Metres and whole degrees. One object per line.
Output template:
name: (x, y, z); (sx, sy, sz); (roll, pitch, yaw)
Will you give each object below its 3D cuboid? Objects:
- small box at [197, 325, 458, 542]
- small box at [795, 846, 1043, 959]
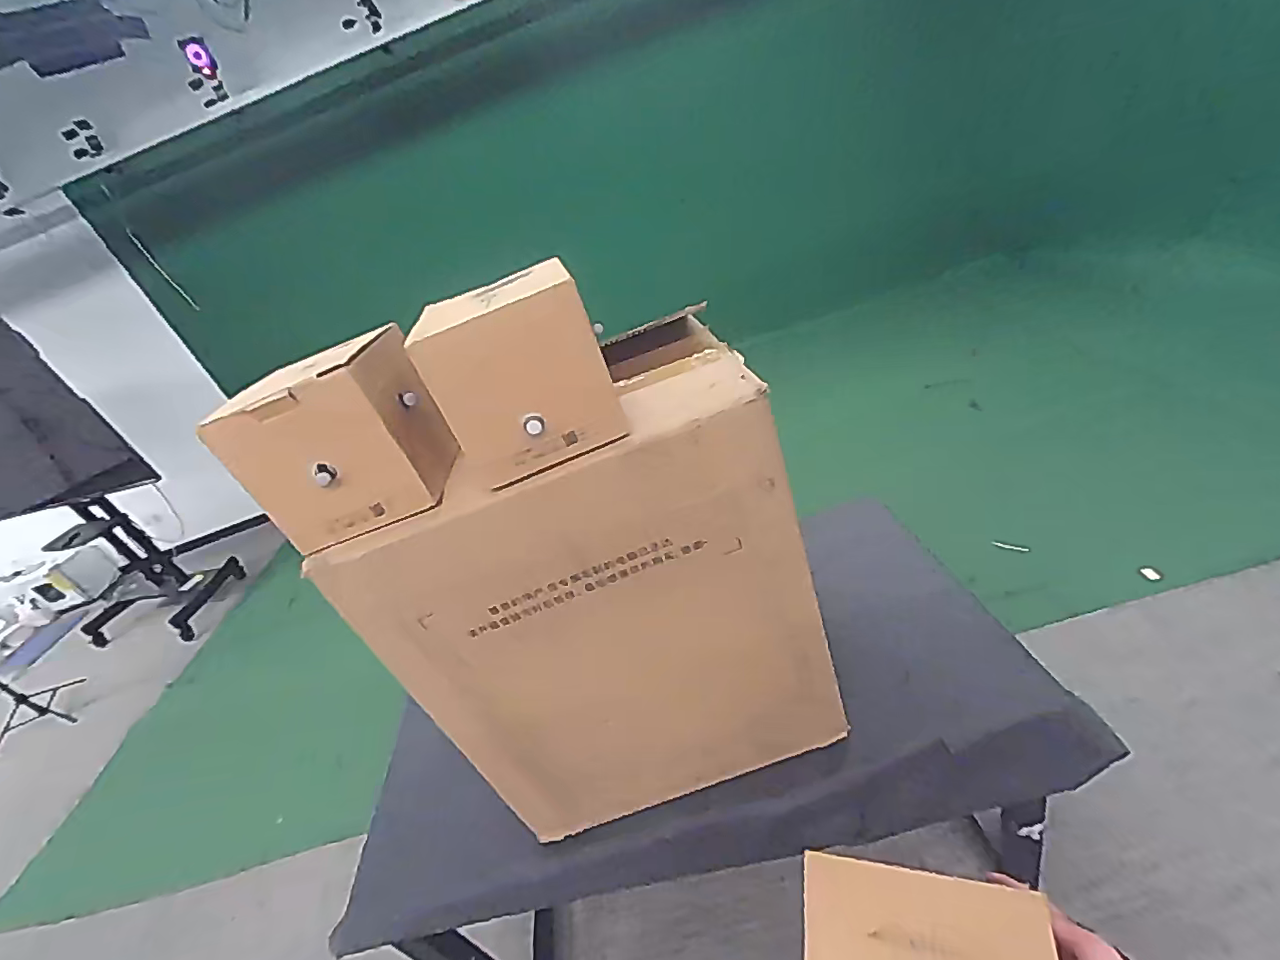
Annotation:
small box: (-0.330, -0.050, 0.619); (0.168, 0.176, 0.179); (-21, 30, 3)
small box: (0.219, 0.414, 0.429); (0.168, 0.176, 0.179); (-5, 52, 22)
